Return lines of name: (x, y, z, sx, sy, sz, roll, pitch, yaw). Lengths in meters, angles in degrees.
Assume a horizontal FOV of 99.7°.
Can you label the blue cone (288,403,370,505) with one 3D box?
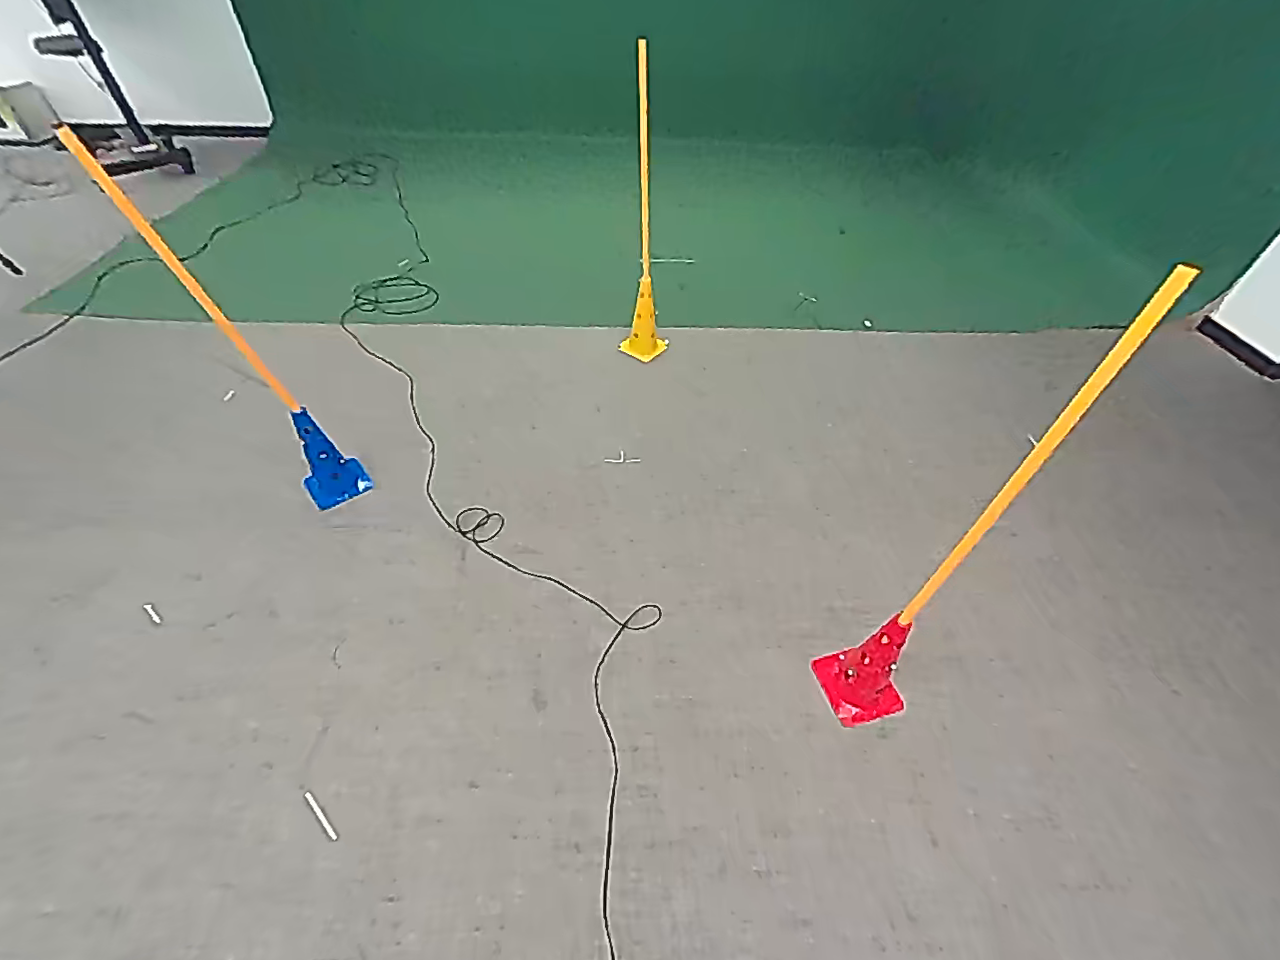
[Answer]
blue cone: (-1.108, -0.107, 1.865, 0.193, 0.380, 0.192, -34, 57, -27)
